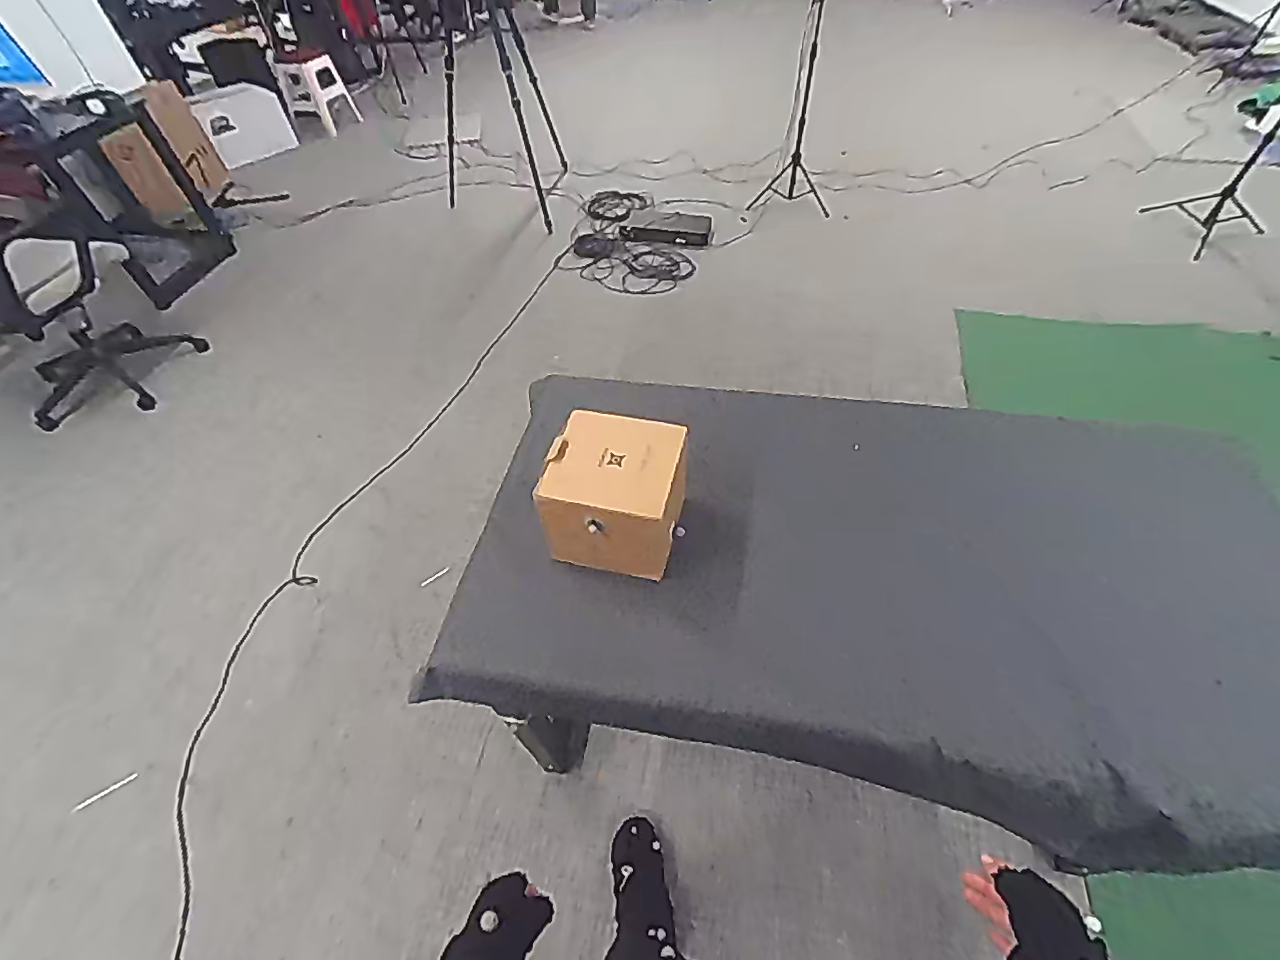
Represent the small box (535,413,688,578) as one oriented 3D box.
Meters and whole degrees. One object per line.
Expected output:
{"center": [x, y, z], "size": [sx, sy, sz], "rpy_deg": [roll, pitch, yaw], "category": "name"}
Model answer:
{"center": [-0.033, 0.026, 0.803], "size": [0.179, 0.176, 0.168], "rpy_deg": [11, 53, 10], "category": "small box"}
